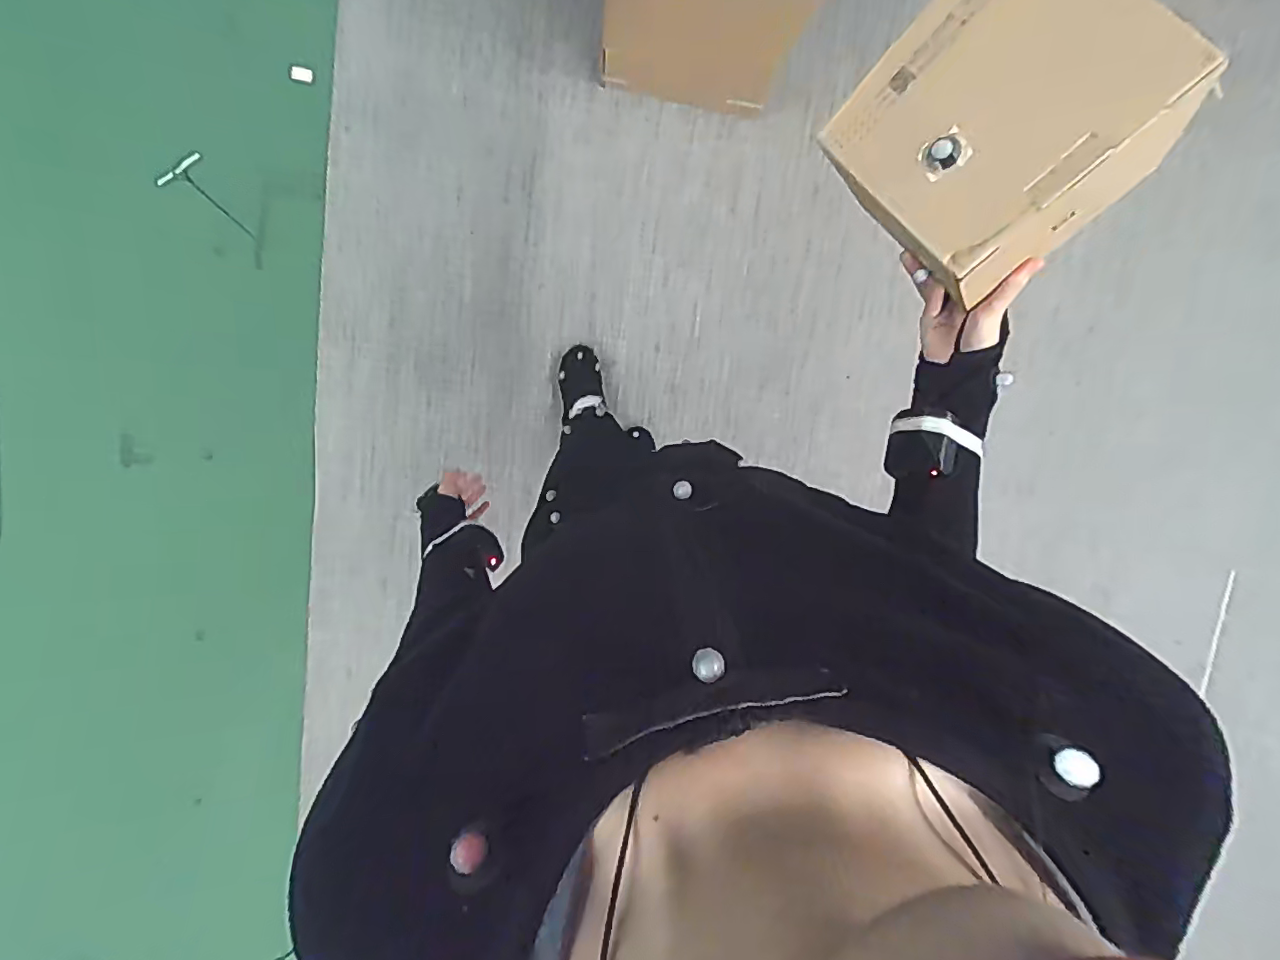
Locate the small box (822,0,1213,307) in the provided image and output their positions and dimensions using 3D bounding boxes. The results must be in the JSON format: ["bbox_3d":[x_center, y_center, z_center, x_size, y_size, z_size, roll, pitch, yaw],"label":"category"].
[{"bbox_3d":[0.275,-0.272,0.434,0.168,0.179,0.176,-43,73,30],"label":"small box"}]
